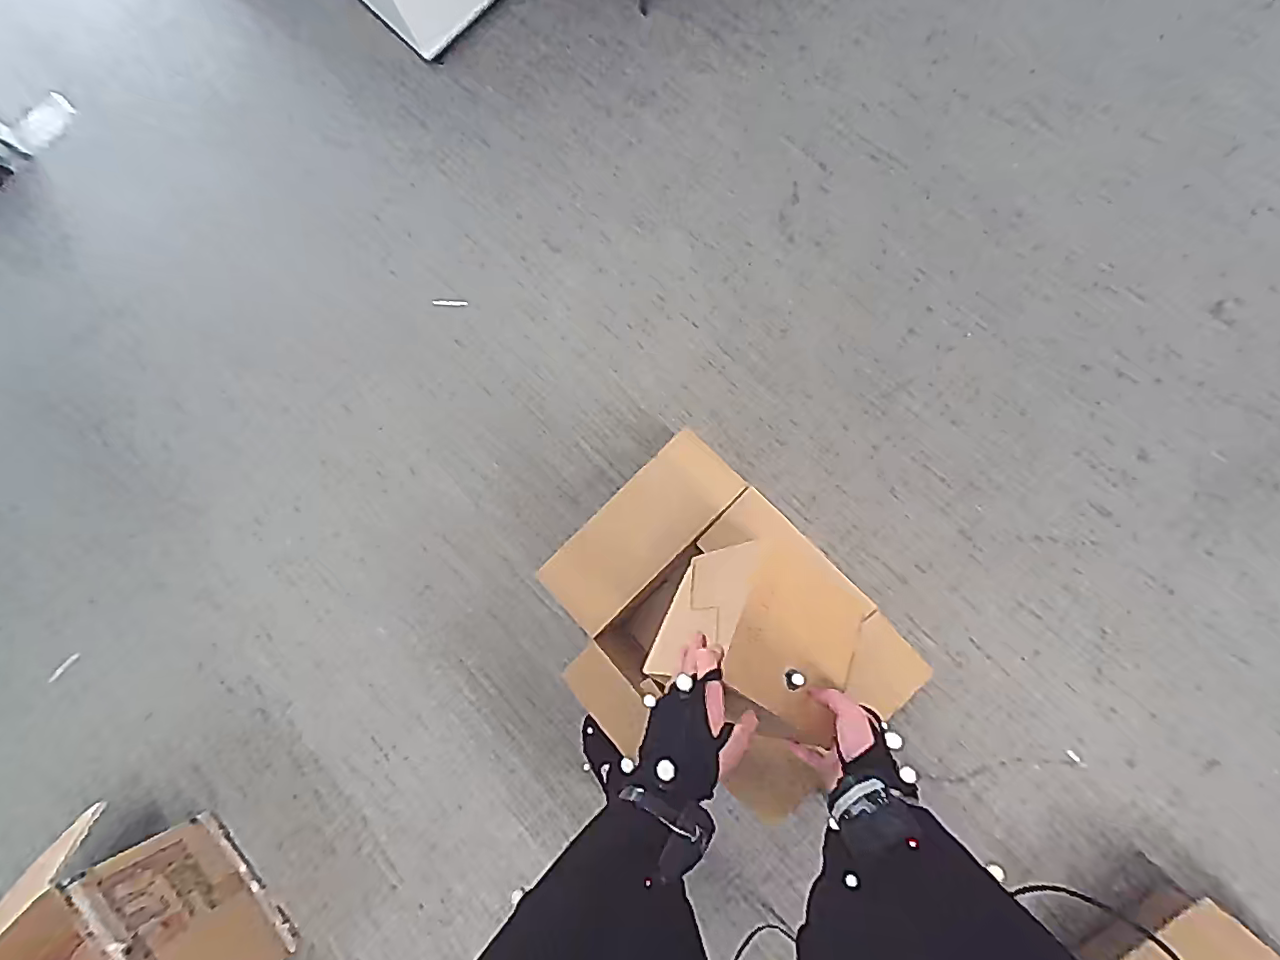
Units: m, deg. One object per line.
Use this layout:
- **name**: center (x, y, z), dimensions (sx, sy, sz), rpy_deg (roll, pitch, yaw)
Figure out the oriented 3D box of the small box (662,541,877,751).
- **small box**: center (0.153, 0.200, 0.666), dimensions (0.176, 0.168, 0.179), rpy_deg (34, 64, -16)
